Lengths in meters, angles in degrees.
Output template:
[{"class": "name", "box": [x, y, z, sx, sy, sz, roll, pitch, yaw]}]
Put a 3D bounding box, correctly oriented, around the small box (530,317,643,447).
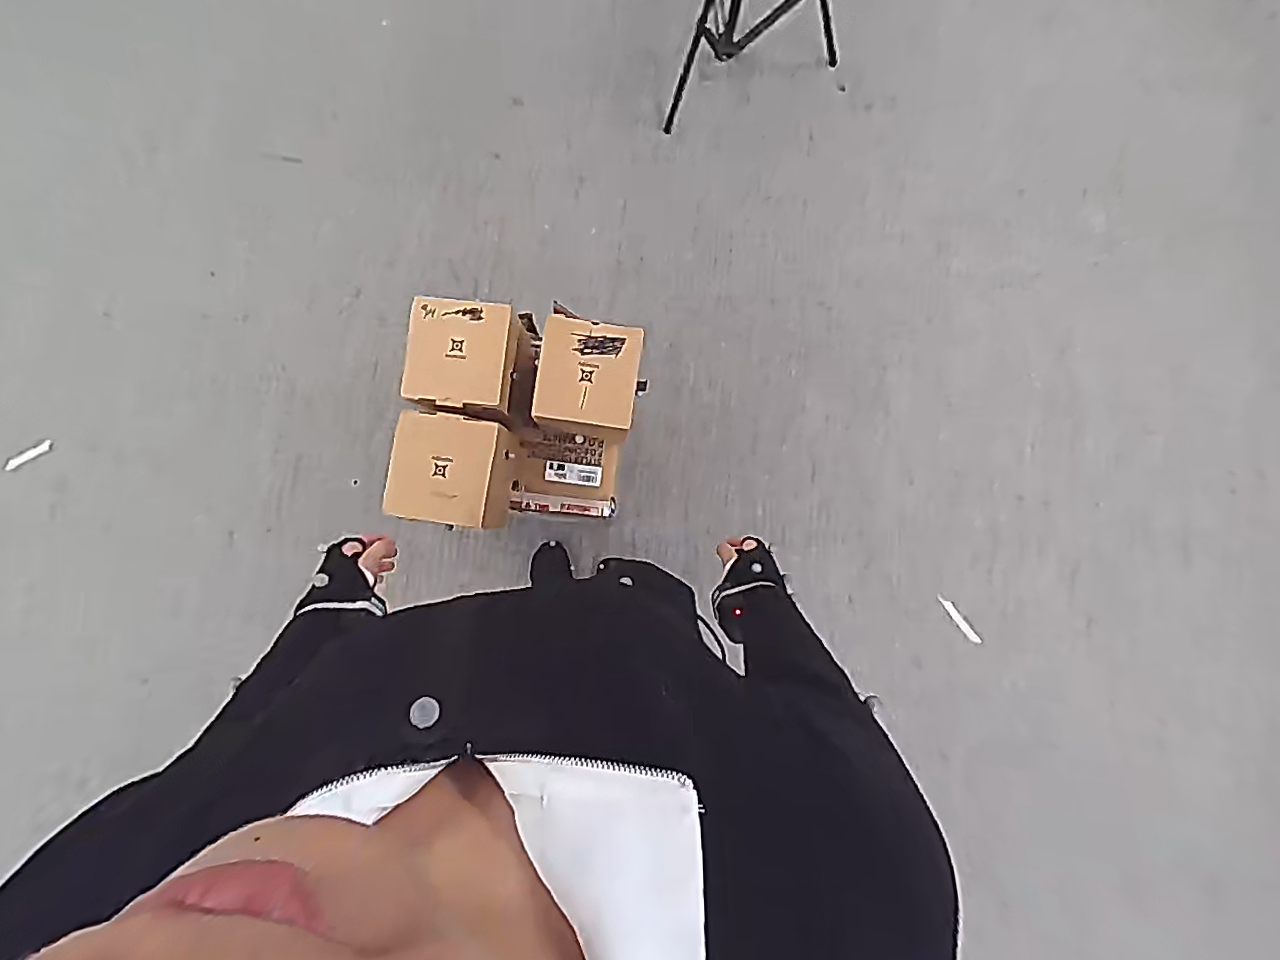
[{"class": "small box", "box": [-0.092, -0.167, 0.972, 0.168, 0.176, 0.179, 9, 85, -2]}]
